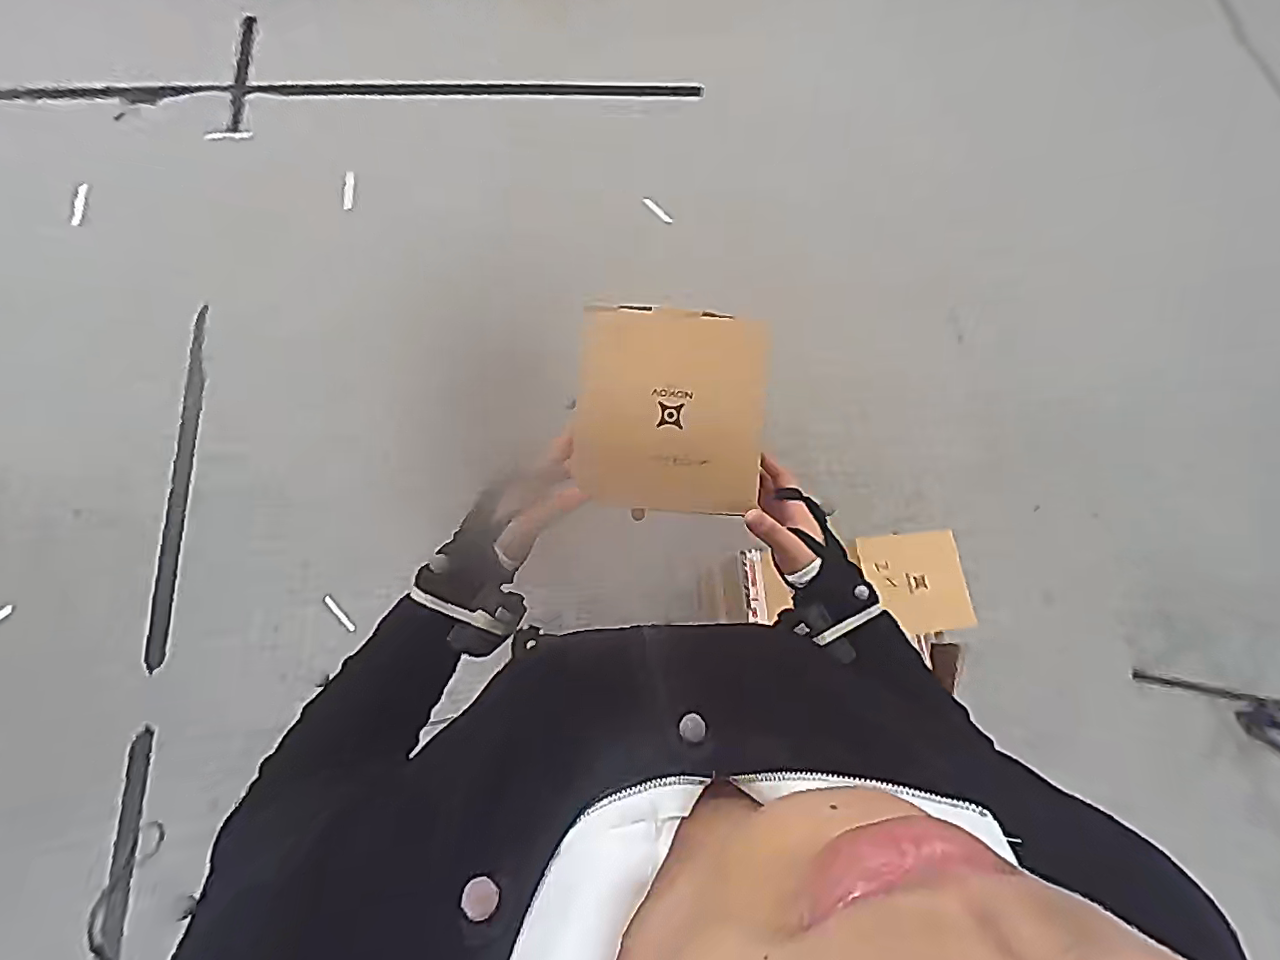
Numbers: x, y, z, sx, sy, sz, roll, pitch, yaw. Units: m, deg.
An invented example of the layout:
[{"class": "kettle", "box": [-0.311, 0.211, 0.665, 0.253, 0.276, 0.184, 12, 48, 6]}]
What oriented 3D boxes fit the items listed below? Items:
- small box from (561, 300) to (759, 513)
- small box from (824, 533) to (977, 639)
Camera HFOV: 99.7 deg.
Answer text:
[{"class": "small box", "box": [0.012, -0.061, 0.544, 0.168, 0.176, 0.179, 3, 90, -4]}, {"class": "small box", "box": [0.459, 0.196, 0.979, 0.179, 0.176, 0.168, -5, 73, -3]}]
